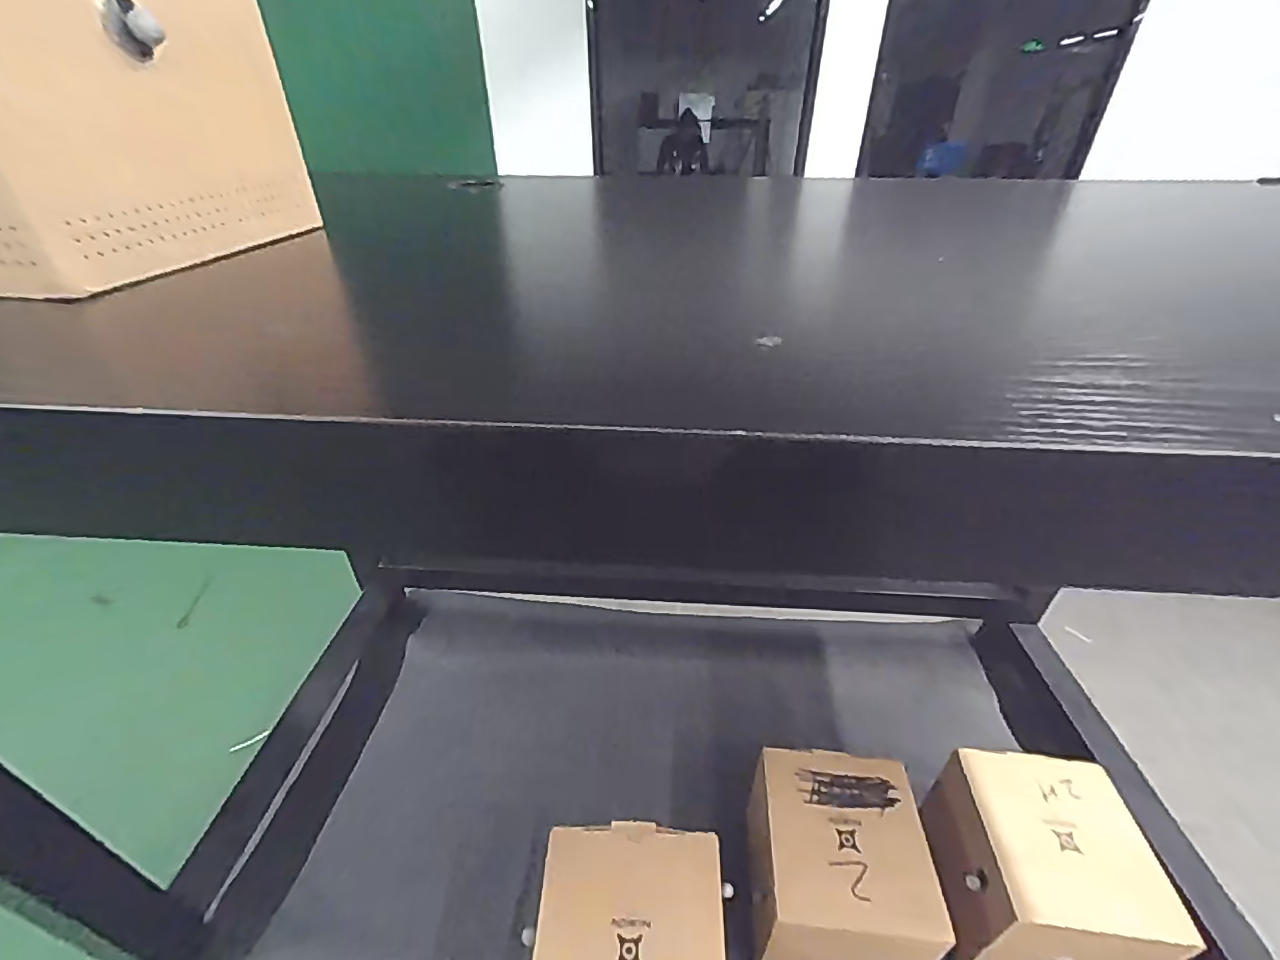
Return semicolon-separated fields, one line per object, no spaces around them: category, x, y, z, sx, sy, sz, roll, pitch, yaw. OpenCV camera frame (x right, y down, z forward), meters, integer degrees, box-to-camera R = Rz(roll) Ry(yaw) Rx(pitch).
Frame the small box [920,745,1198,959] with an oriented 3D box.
small box;0.450;0.442;0.622;0.168;0.176;0.179;4;34;6
